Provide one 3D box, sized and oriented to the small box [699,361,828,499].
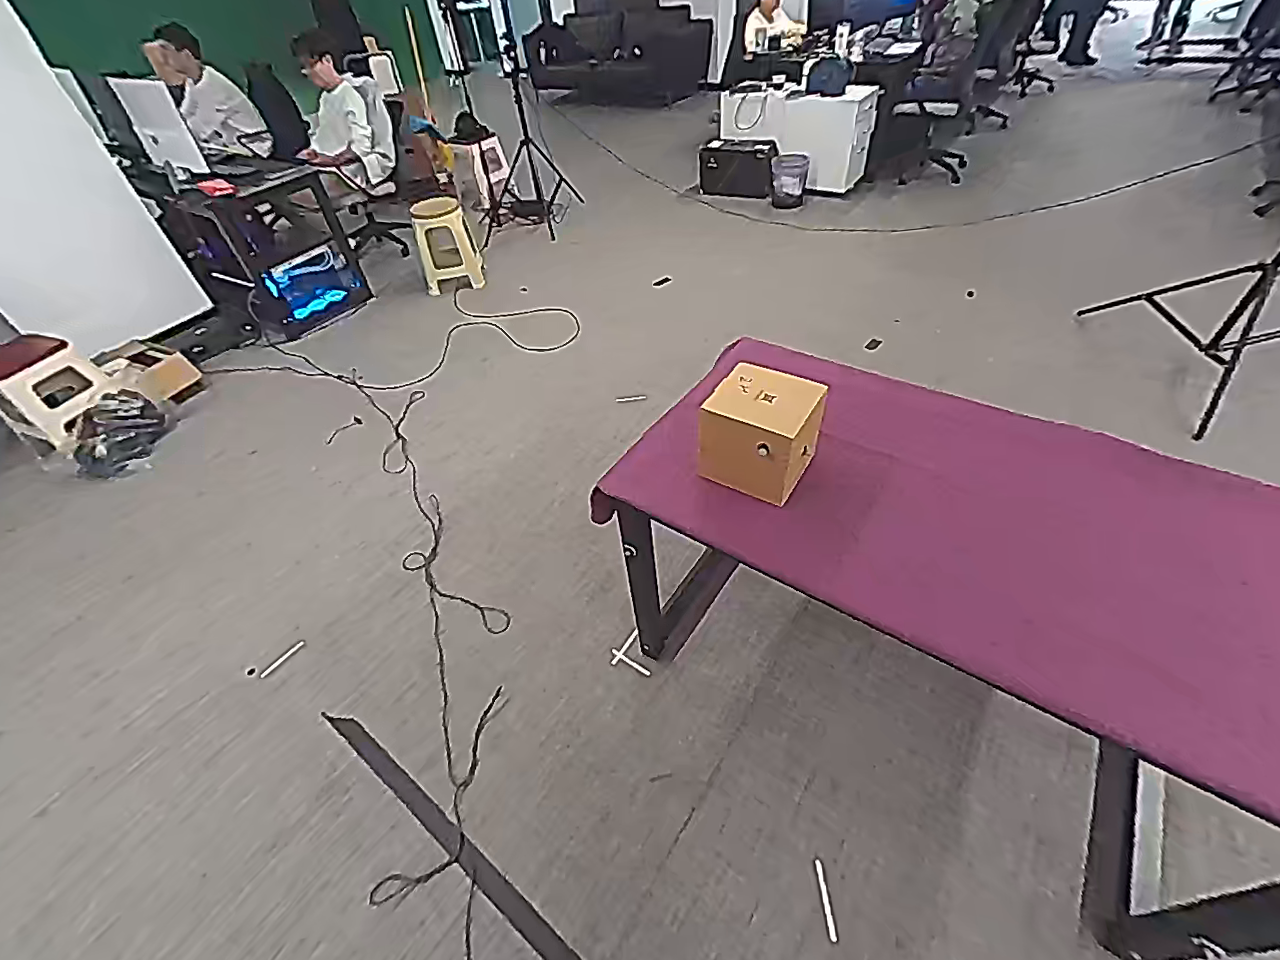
[{"bbox_3d":[0.225,-0.090,1.006,0.179,0.176,0.168,22,51,25],"label":"small box"}]
